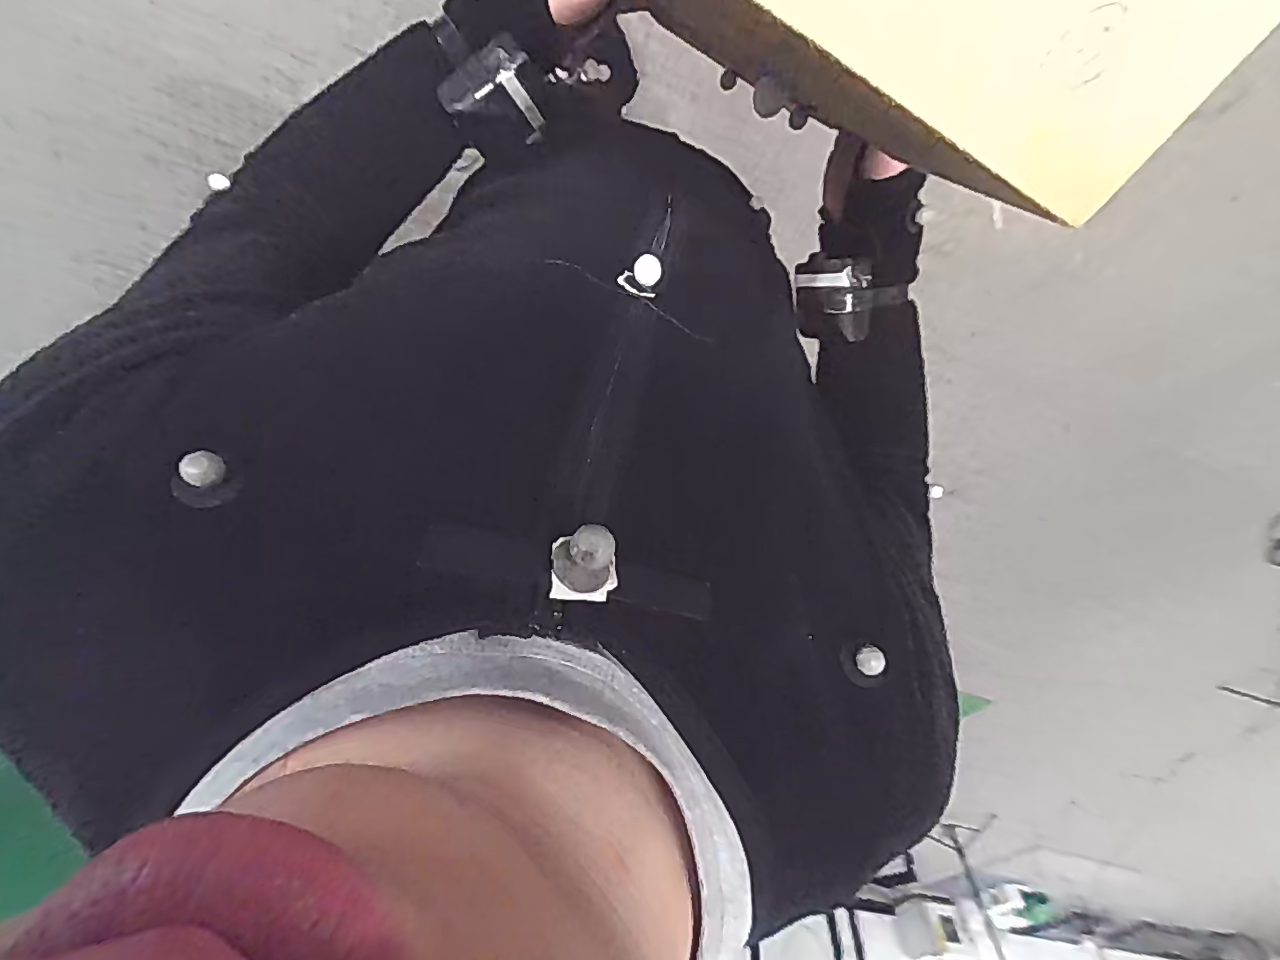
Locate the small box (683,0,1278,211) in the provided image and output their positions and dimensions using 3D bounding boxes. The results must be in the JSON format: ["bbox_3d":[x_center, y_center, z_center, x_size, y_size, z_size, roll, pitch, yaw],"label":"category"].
[{"bbox_3d":[0.101,-0.220,0.158,0.168,0.176,0.179,24,126,-14],"label":"small box"}]

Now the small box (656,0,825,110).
[{"bbox_3d":[0.118,-0.425,0.413,0.168,0.176,0.179,24,126,-14],"label":"small box"}]

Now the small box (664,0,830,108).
[{"bbox_3d":[0.107,-0.324,0.285,0.168,0.176,0.179,22,124,-14],"label":"small box"}]
